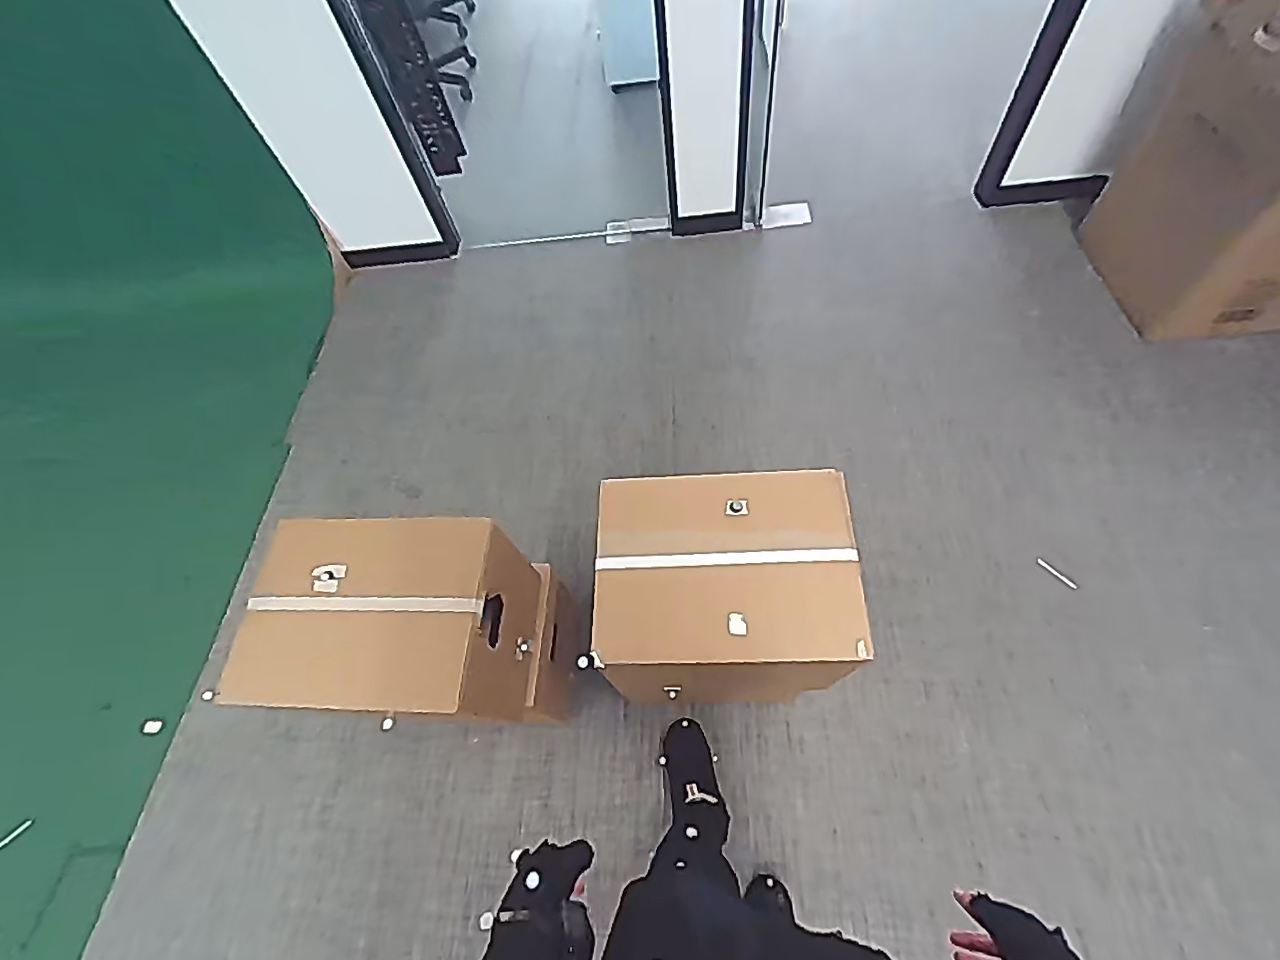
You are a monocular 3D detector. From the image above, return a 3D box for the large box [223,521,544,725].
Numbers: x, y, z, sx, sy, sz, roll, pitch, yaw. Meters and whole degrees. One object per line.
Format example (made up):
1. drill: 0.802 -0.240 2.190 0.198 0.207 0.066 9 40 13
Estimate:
1. large box: -0.427 0.280 1.010 0.408 0.320 0.320 -1 62 9
